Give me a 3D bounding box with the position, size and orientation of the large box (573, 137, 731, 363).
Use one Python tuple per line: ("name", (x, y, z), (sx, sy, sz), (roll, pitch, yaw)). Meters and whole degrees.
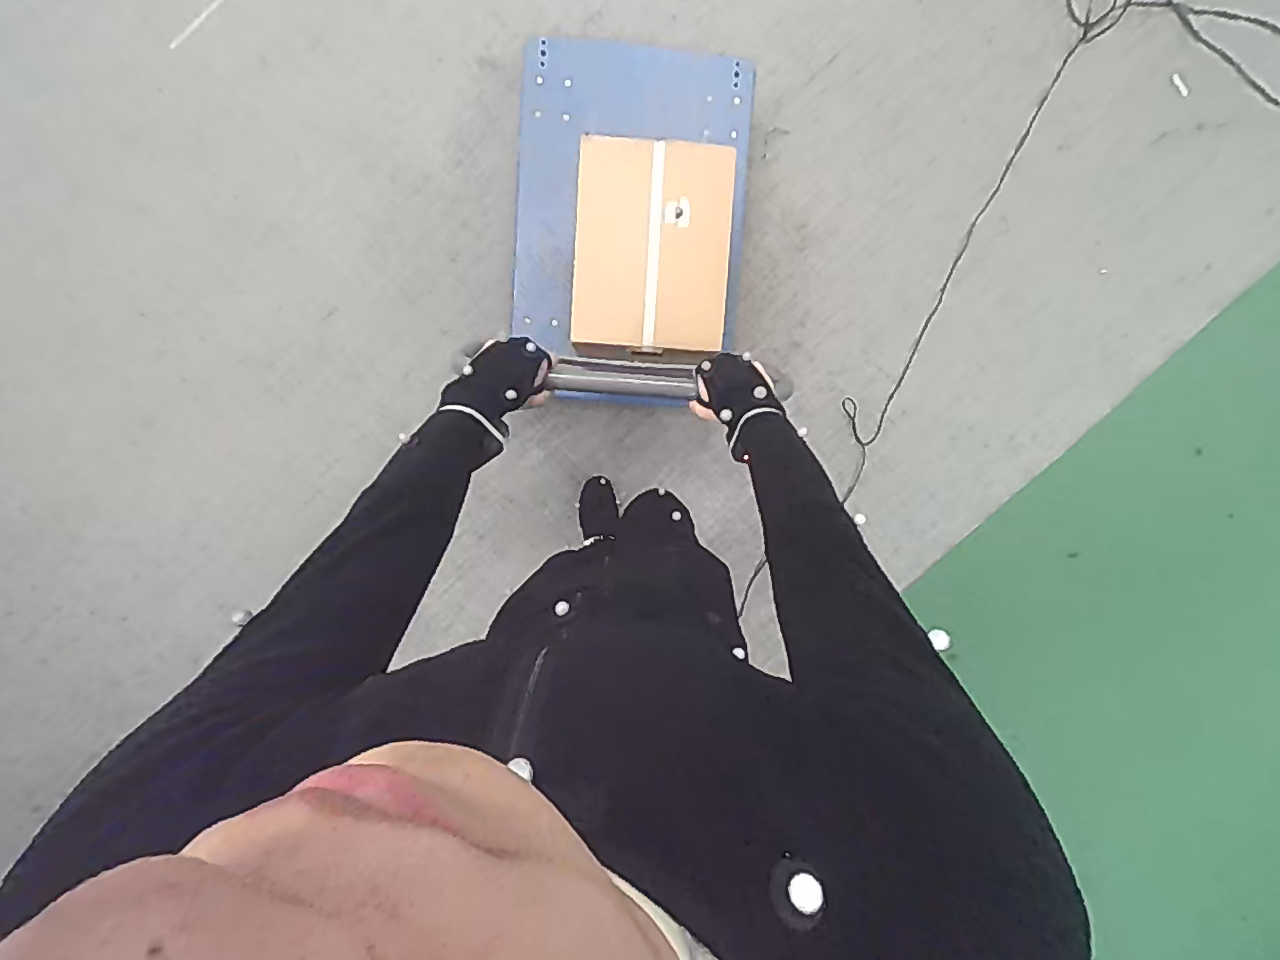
("large box", (0.019, -0.496, 1.254), (0.320, 0.320, 0.408), (3, 95, -4))
